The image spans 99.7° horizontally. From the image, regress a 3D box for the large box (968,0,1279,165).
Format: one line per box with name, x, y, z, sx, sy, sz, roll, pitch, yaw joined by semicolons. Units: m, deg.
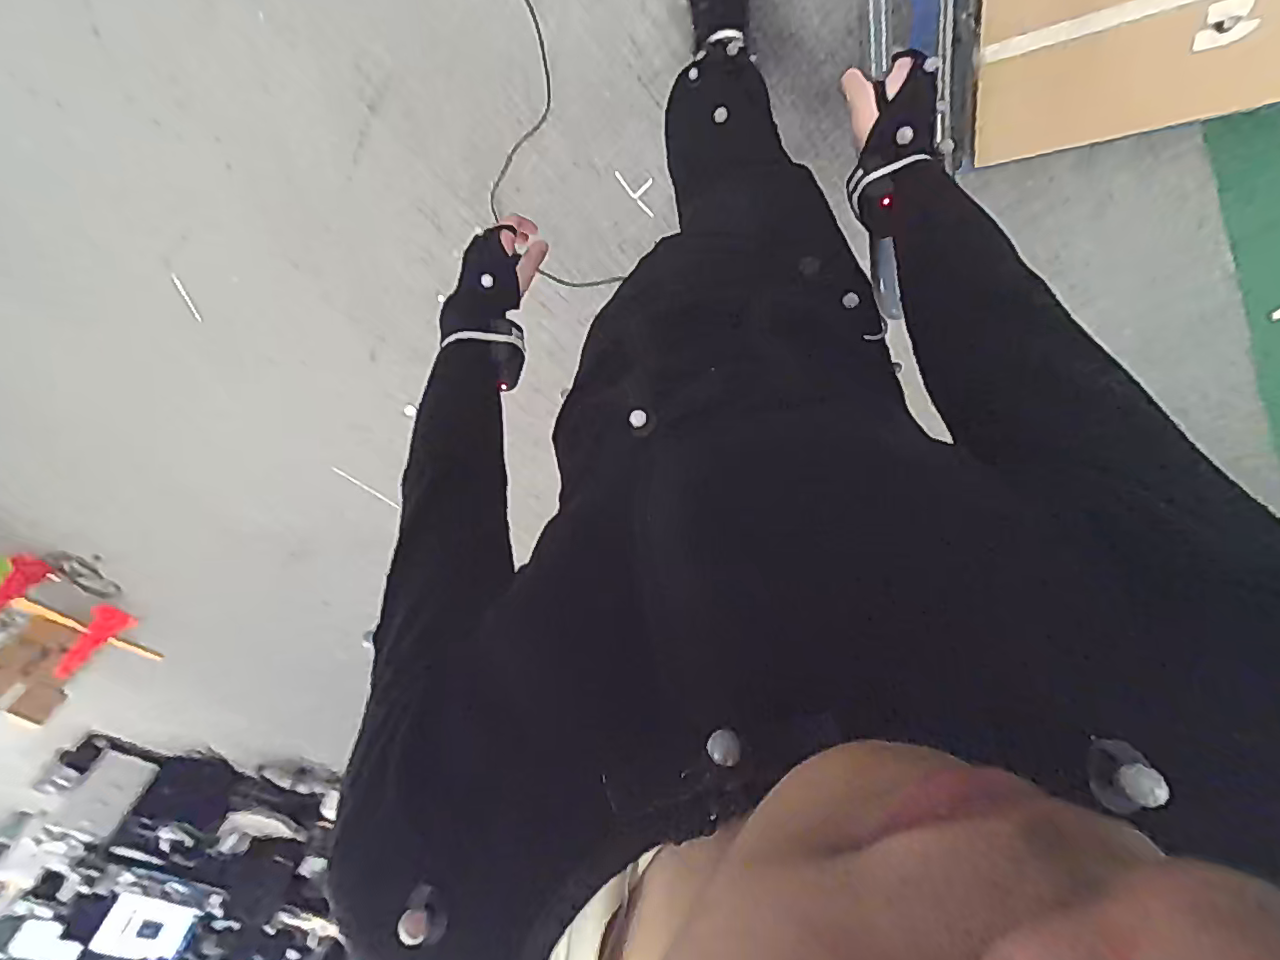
large box;0.717;-0.715;0.777;0.408;0.320;0.320;0;134;27
